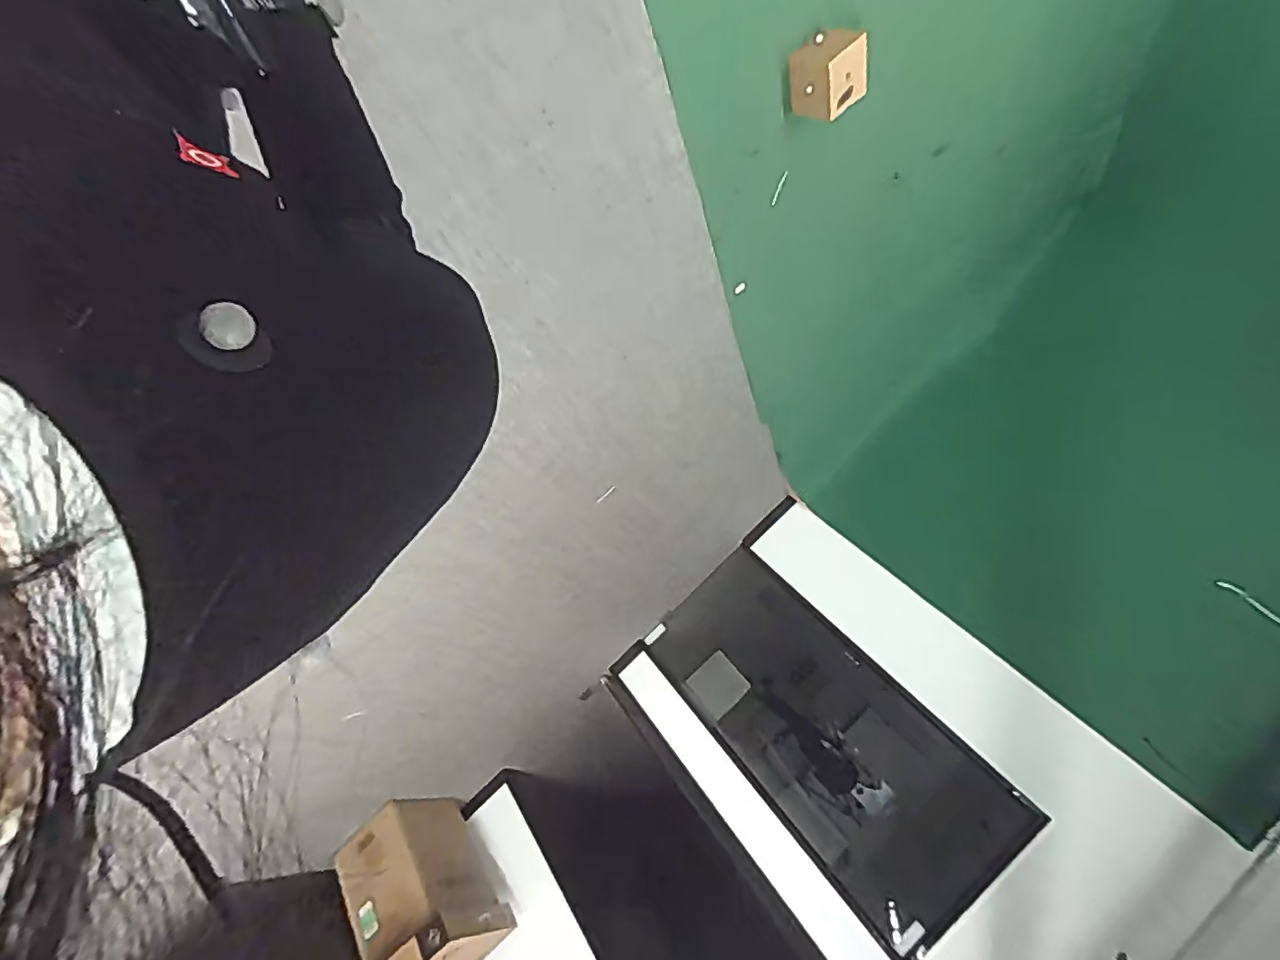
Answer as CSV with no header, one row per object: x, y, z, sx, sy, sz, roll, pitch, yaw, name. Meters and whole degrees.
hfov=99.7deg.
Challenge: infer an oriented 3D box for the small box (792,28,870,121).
0.605,-1.291,1.720,0.168,0.176,0.179,-42,145,-6,small box
